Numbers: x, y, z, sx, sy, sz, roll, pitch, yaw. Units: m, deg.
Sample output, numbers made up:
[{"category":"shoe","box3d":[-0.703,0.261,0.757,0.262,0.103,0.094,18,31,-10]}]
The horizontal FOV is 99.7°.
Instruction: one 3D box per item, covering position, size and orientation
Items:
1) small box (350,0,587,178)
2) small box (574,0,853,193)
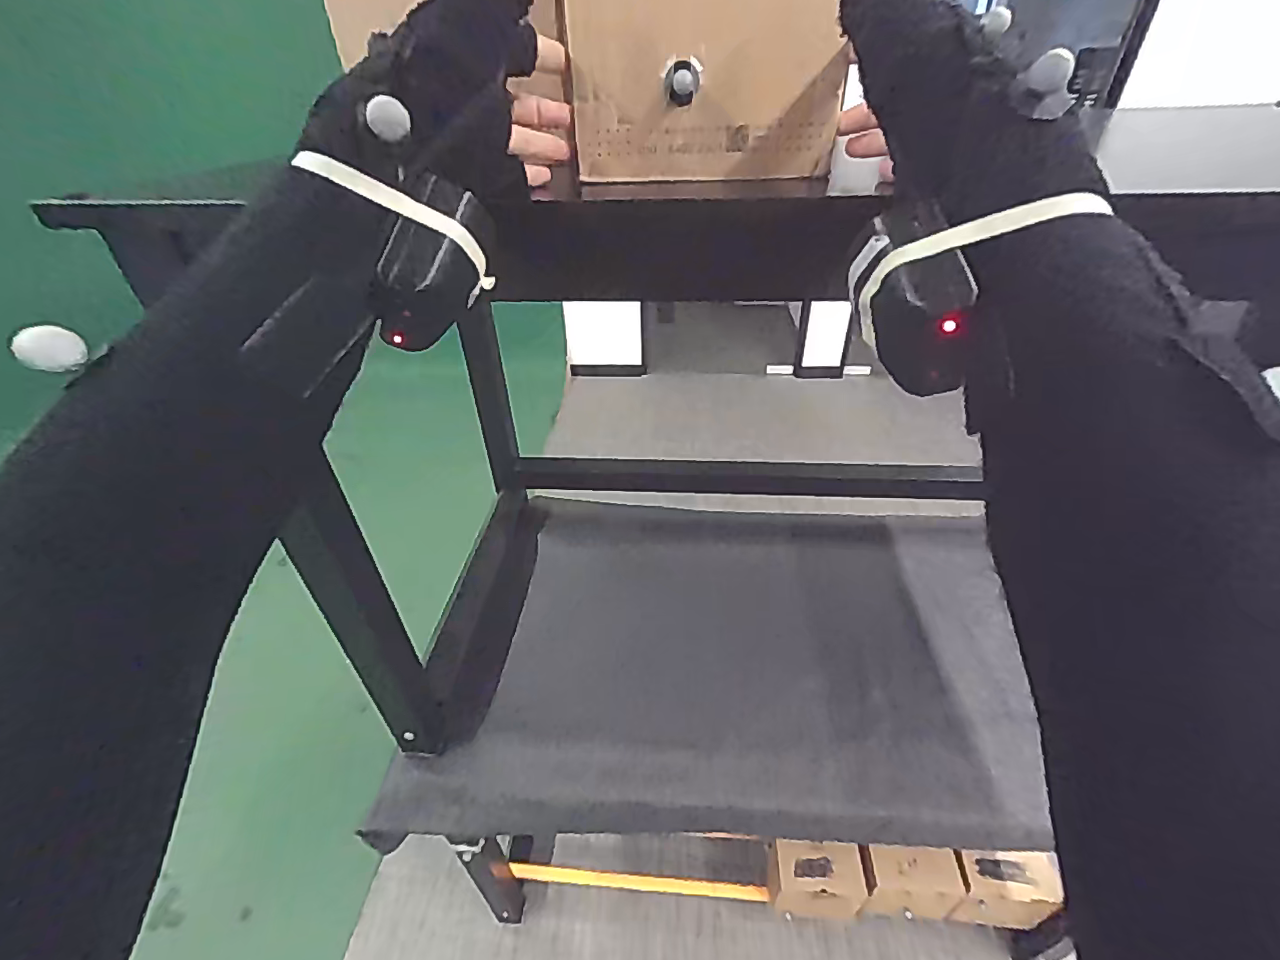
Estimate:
[{"category":"small box","box3d":[-0.131,-0.370,0.469,0.168,0.176,0.179,-1,37,2]},{"category":"small box","box3d":[0.044,-0.312,0.385,0.168,0.176,0.179,0,37,3]}]
